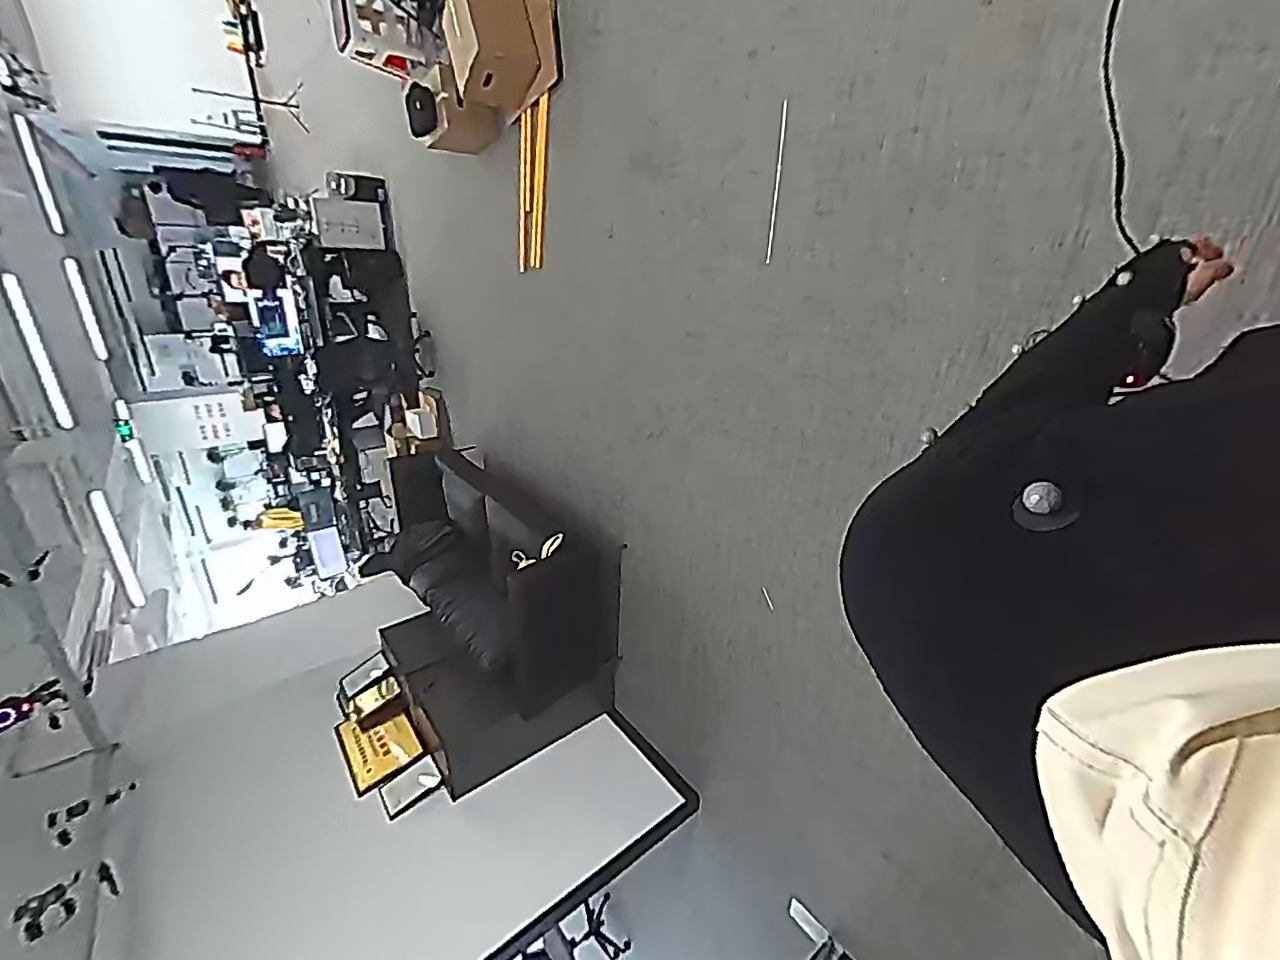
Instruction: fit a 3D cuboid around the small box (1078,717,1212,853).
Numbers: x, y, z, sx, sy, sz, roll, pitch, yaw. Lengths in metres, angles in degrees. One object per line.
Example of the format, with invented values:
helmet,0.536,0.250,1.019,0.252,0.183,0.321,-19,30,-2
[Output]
small box,1.167,0.695,1.249,0.168,0.176,0.179,32,126,42
